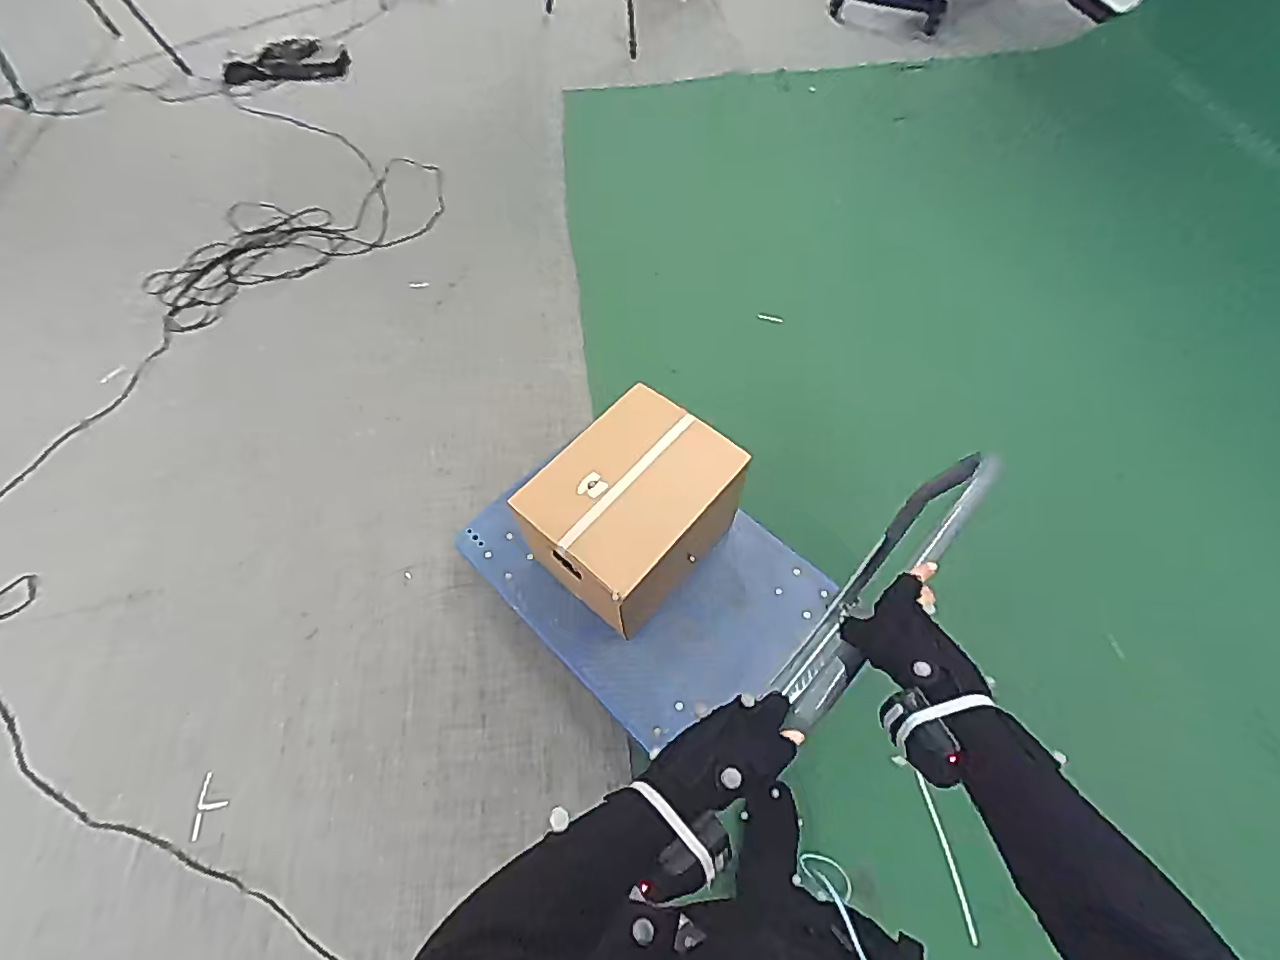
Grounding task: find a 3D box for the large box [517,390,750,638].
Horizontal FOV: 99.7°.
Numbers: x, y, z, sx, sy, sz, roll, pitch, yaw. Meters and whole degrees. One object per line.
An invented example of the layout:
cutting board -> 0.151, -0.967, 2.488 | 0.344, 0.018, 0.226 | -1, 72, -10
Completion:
large box -> -0.004, 0.081, 1.236 | 0.320, 0.320, 0.408 | 36, 68, 21
